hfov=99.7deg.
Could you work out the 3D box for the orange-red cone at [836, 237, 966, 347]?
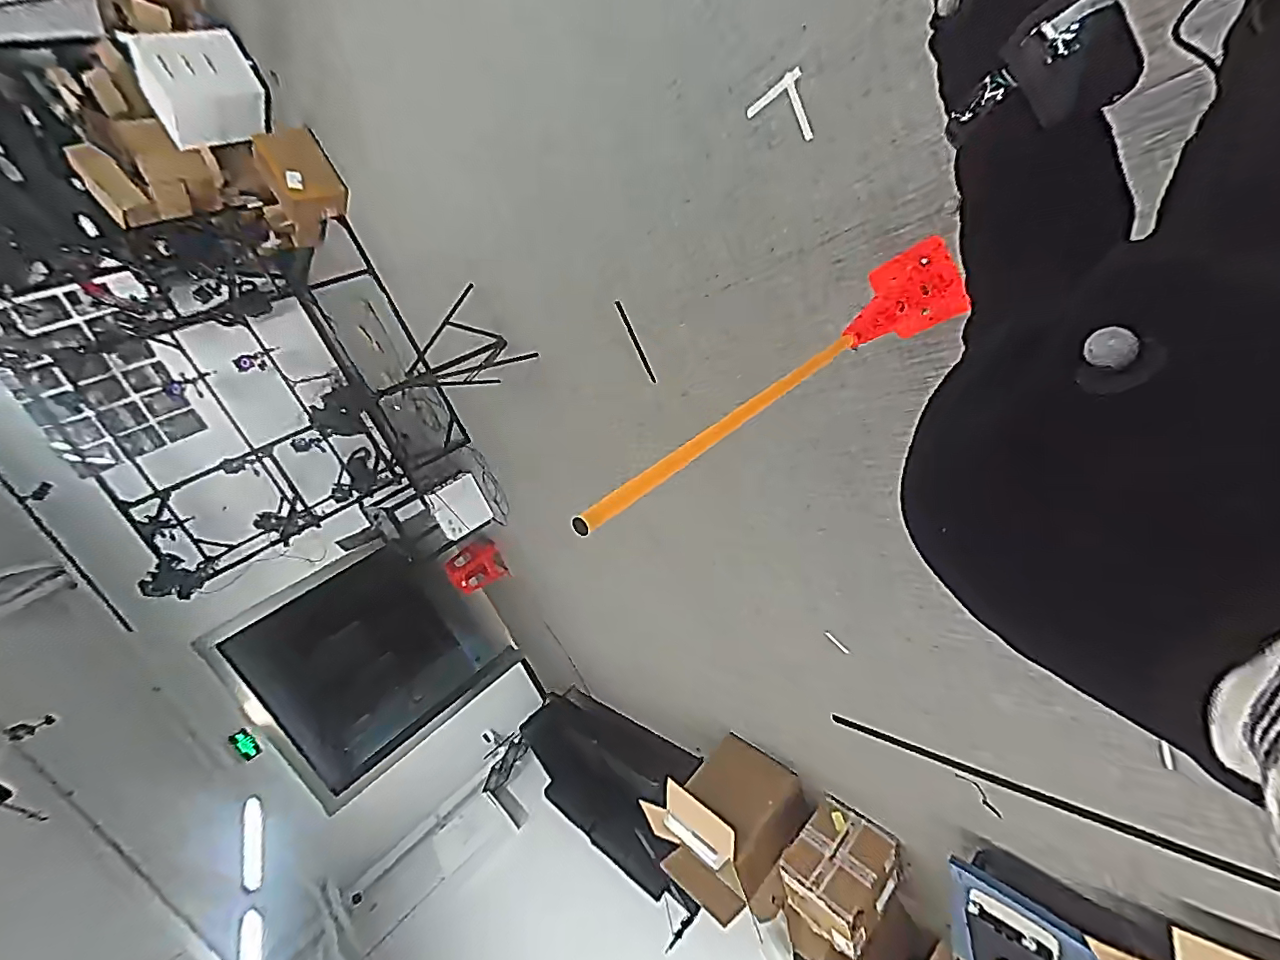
[{"bbox_3d":[0.569,-0.393,1.267,0.198,0.360,0.199,60,150,-8],"label":"orange-red cone"}]
